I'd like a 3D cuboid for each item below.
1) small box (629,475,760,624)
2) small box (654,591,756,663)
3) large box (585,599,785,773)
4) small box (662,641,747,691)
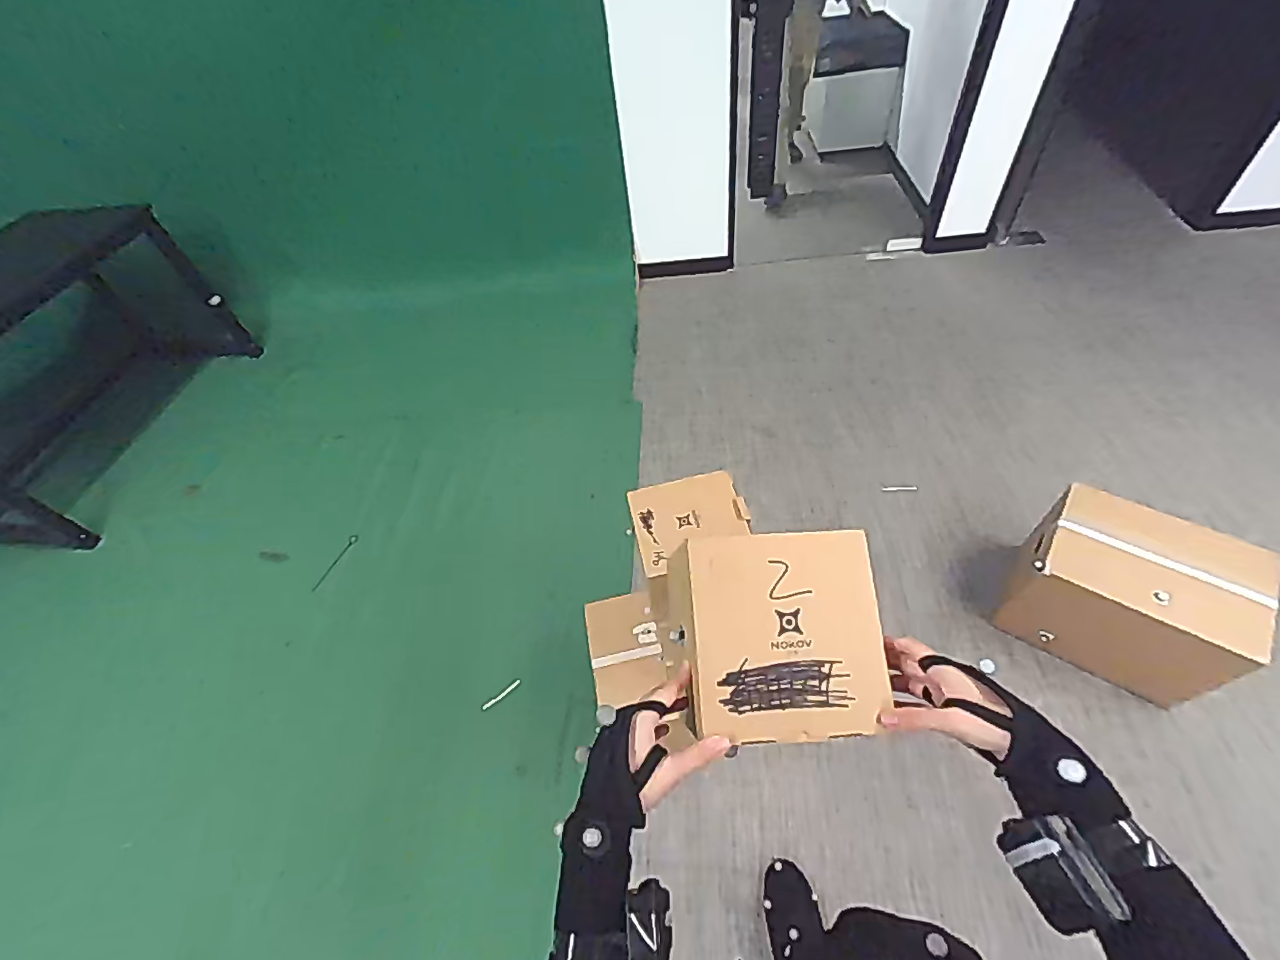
[{"bbox_3d":[0.085,0.119,0.901,0.179,0.176,0.168,-12,50,-3],"label":"small box"},{"bbox_3d":[0.107,0.225,1.025,0.179,0.176,0.168,-13,50,-2],"label":"small box"},{"bbox_3d":[0.108,0.486,1.341,0.408,0.320,0.320,-14,49,-1],"label":"large box"},{"bbox_3d":[0.123,0.331,1.148,0.168,0.176,0.179,-12,50,-2],"label":"small box"}]
